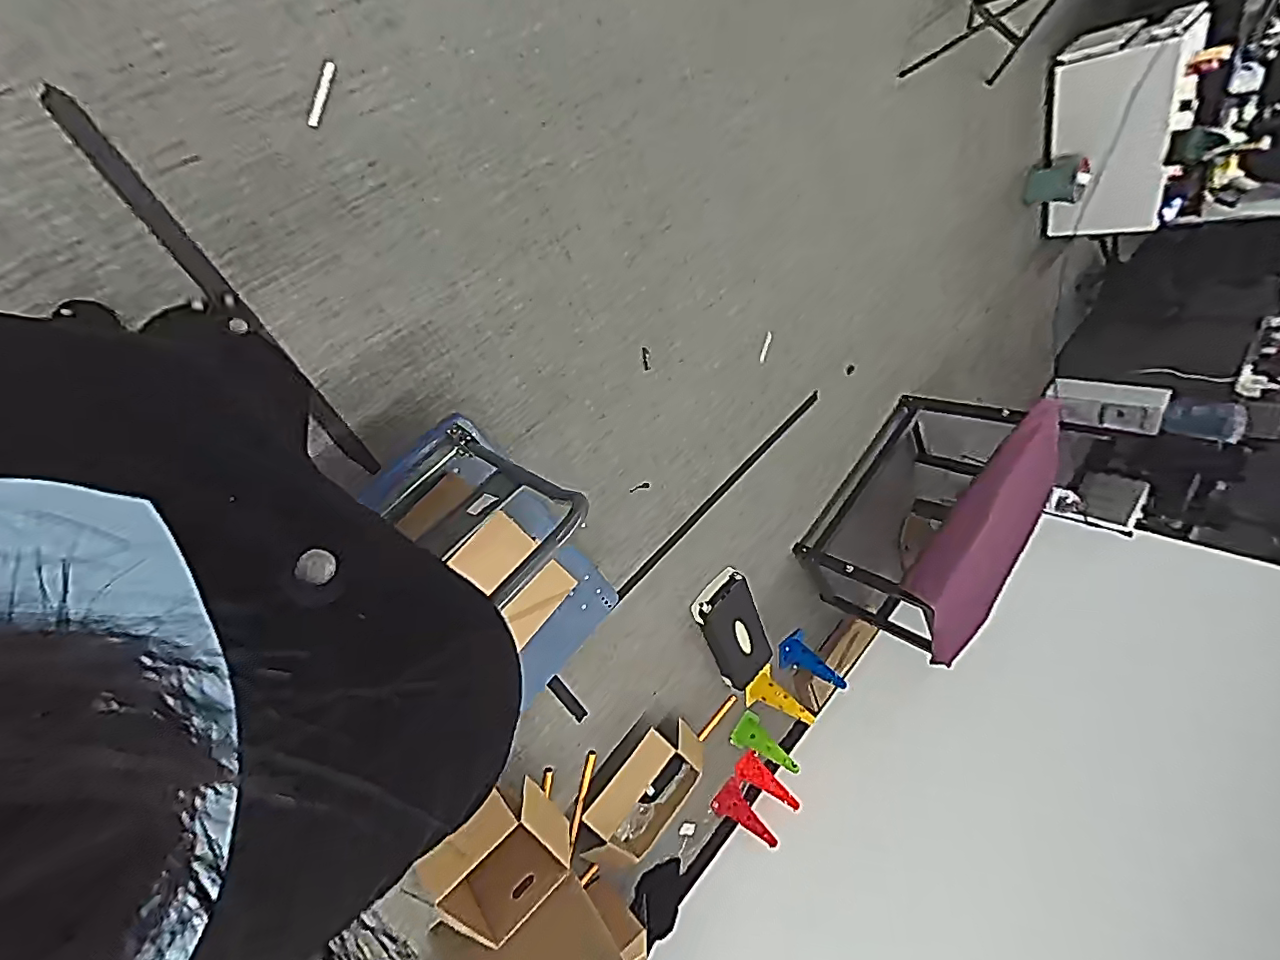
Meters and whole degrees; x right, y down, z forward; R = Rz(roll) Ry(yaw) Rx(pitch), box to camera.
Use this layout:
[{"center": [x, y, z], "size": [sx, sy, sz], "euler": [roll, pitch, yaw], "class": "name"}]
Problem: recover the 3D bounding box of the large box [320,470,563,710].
[{"center": [-0.471, 0.248, 1.302], "size": [0.408, 0.320, 0.320], "euler": [-49, 129, -14], "class": "large box"}]
